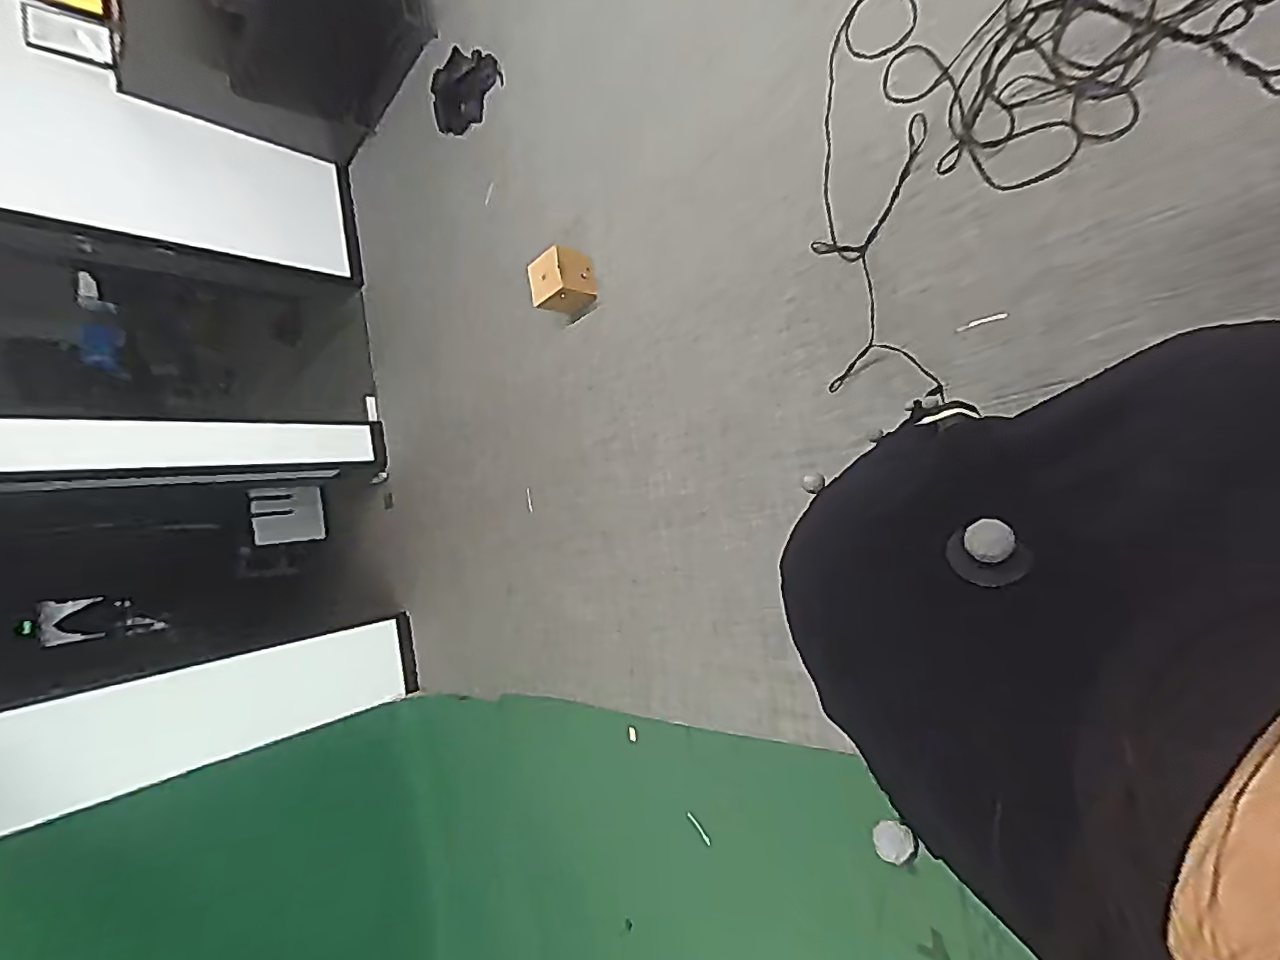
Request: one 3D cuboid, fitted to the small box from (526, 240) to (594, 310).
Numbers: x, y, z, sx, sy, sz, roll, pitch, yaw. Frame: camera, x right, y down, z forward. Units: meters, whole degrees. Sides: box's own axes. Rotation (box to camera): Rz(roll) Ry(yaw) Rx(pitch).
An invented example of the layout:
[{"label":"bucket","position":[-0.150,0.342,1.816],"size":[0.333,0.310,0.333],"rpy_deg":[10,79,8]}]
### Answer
[{"label":"small box","position":[-0.296,-0.754,2.009],"size":[0.179,0.176,0.168],"rpy_deg":[-16,82,42]}]
